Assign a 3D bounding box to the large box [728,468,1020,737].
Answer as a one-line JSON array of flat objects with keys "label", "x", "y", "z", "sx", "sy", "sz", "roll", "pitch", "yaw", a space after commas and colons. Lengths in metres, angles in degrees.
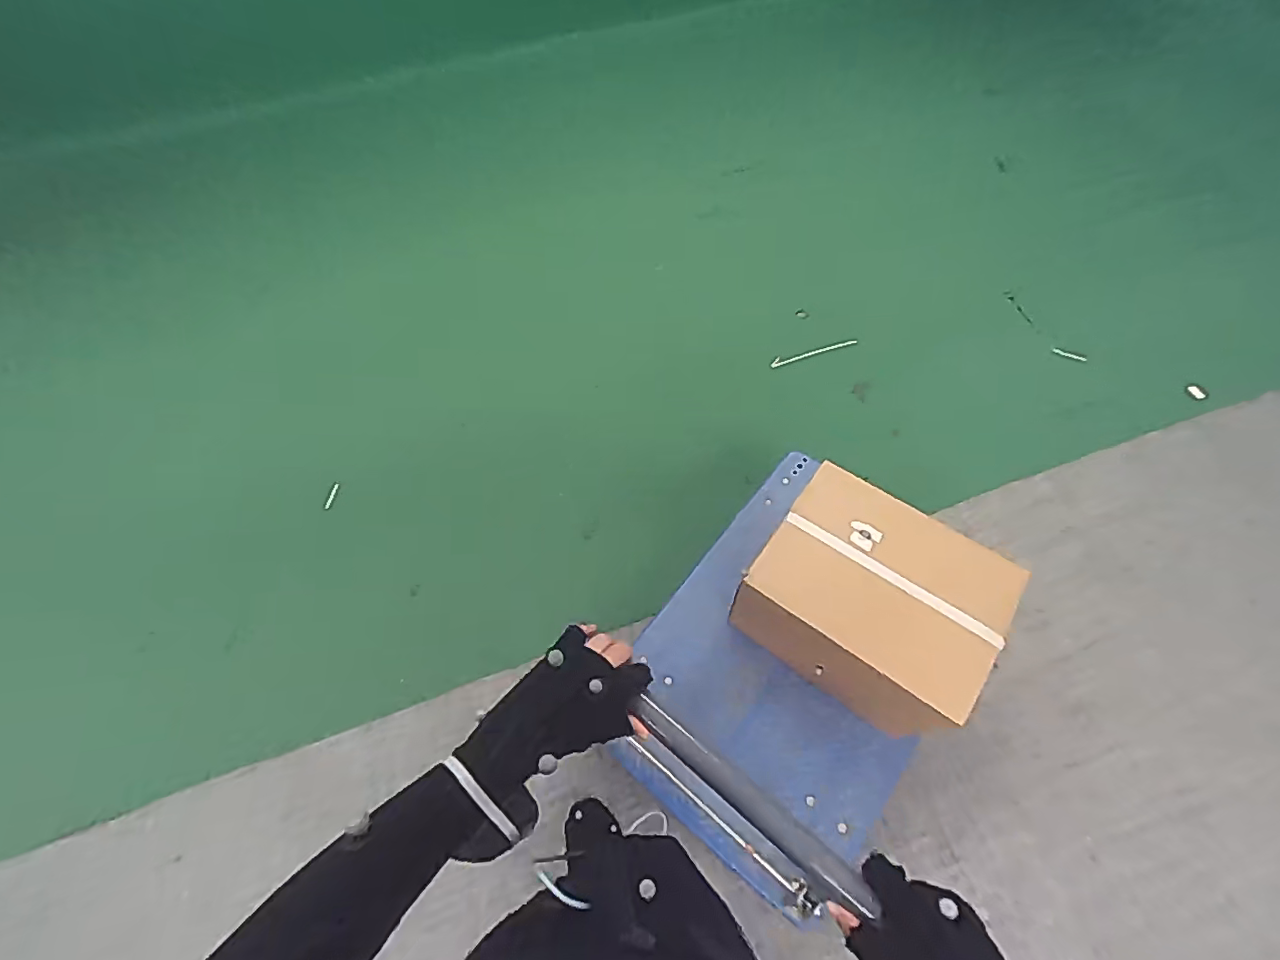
[{"label": "large box", "x": 0.433, "y": 0.251, "z": 1.089, "sx": 0.408, "sy": 0.320, "sz": 0.320, "roll": 33, "pitch": 67, "yaw": 21}]
